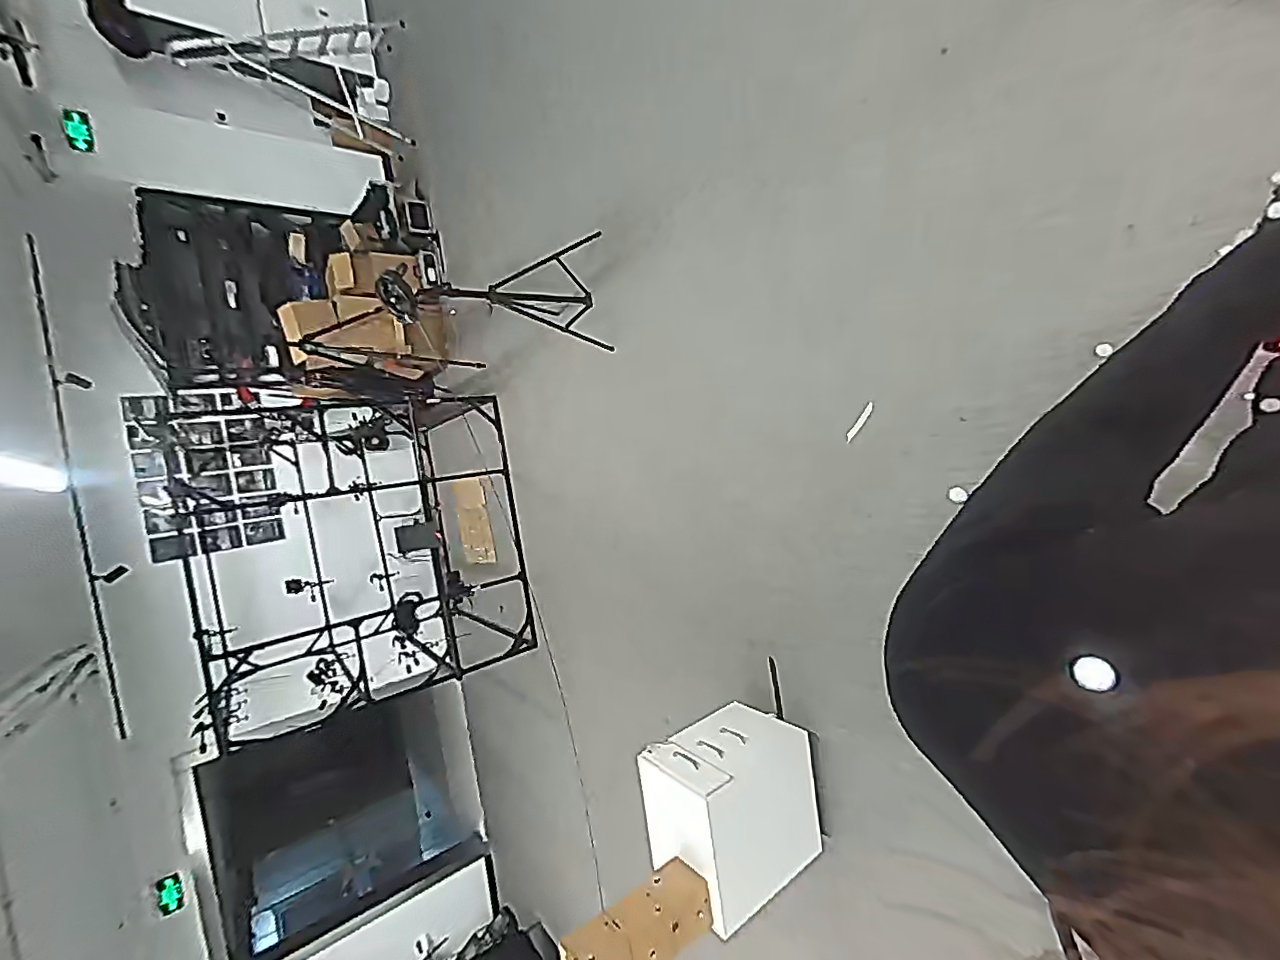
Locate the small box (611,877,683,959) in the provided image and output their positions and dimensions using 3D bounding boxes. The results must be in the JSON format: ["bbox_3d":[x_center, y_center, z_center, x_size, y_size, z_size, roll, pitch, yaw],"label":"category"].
[{"bbox_3d":[0.024,1.500,1.821,0.168,0.176,0.179,-3,97,56],"label":"small box"}]

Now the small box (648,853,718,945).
[{"bbox_3d":[0.154,1.473,1.919,0.179,0.176,0.168,-4,95,55],"label":"small box"}]
